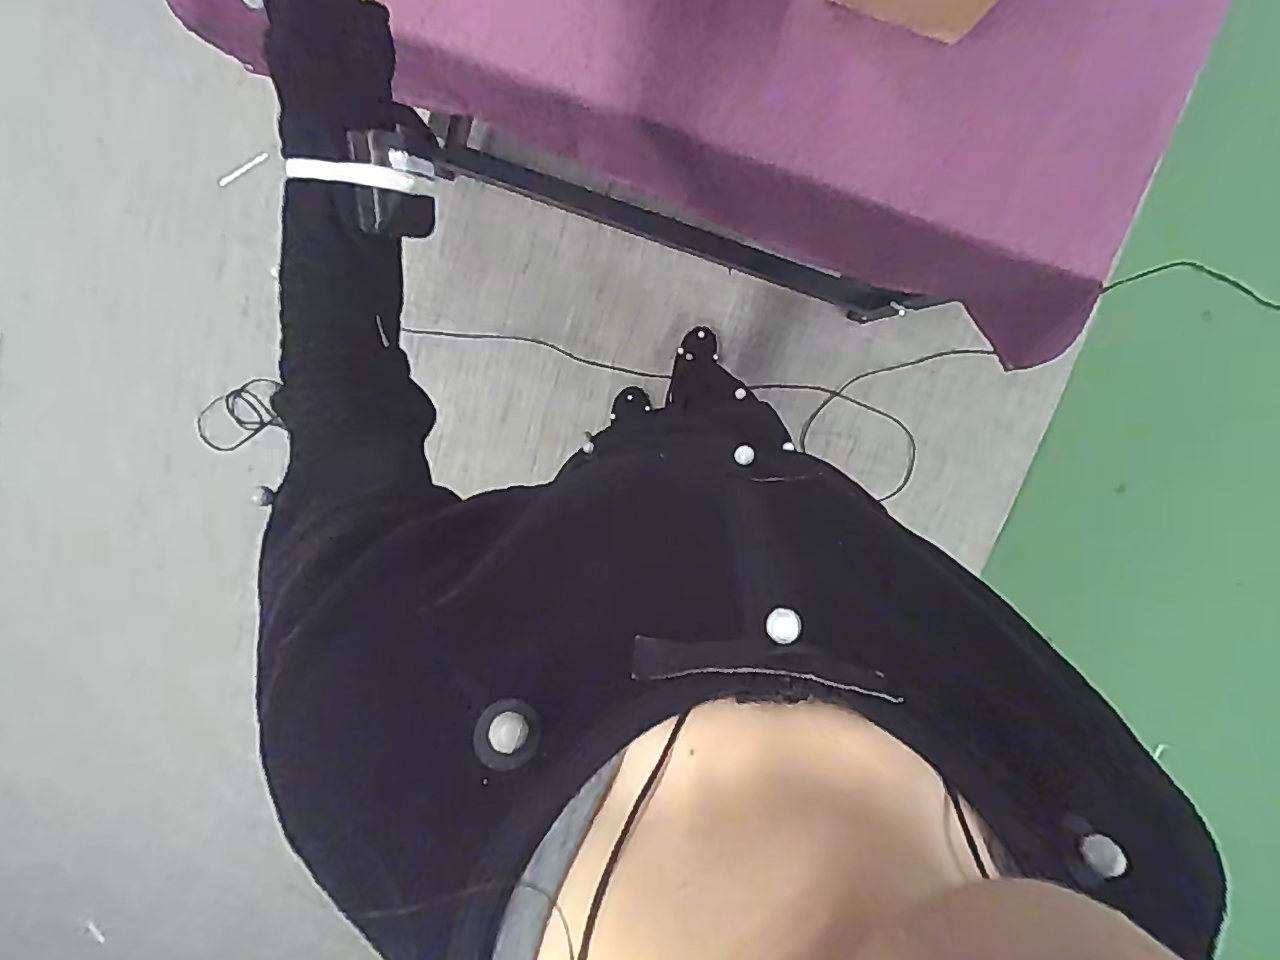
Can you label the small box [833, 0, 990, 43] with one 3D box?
[{"bbox_3d":[0.329,-0.620,0.575,0.179,0.176,0.168,17,100,-4],"label":"small box"}]
